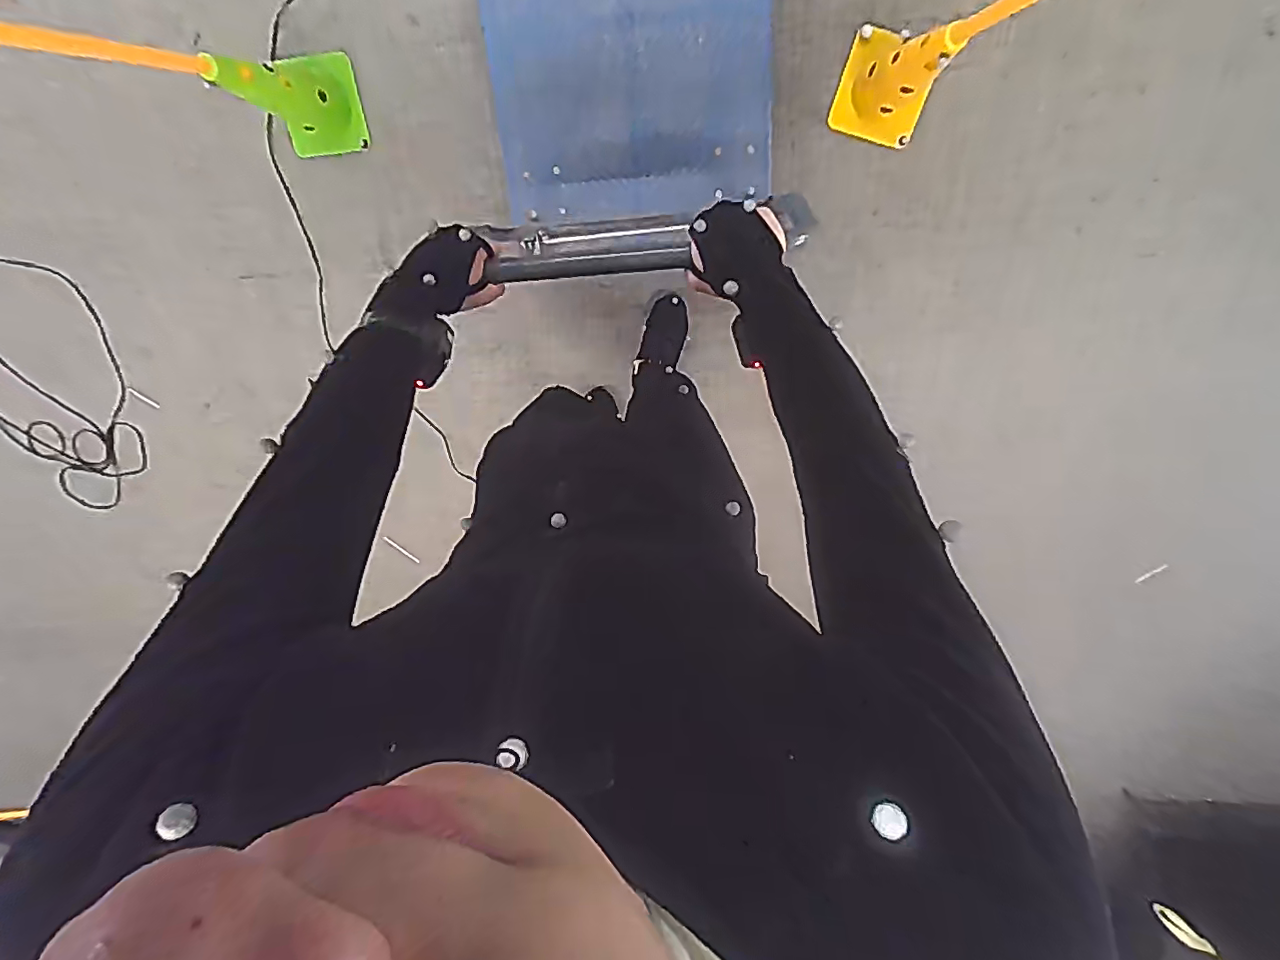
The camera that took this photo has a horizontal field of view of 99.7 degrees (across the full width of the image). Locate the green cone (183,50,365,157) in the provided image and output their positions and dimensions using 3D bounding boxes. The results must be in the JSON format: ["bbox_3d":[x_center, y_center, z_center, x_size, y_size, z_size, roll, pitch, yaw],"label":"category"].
[{"bbox_3d":[-0.793,-0.832,1.145,0.202,0.368,0.200,-3,114,8],"label":"green cone"}]
